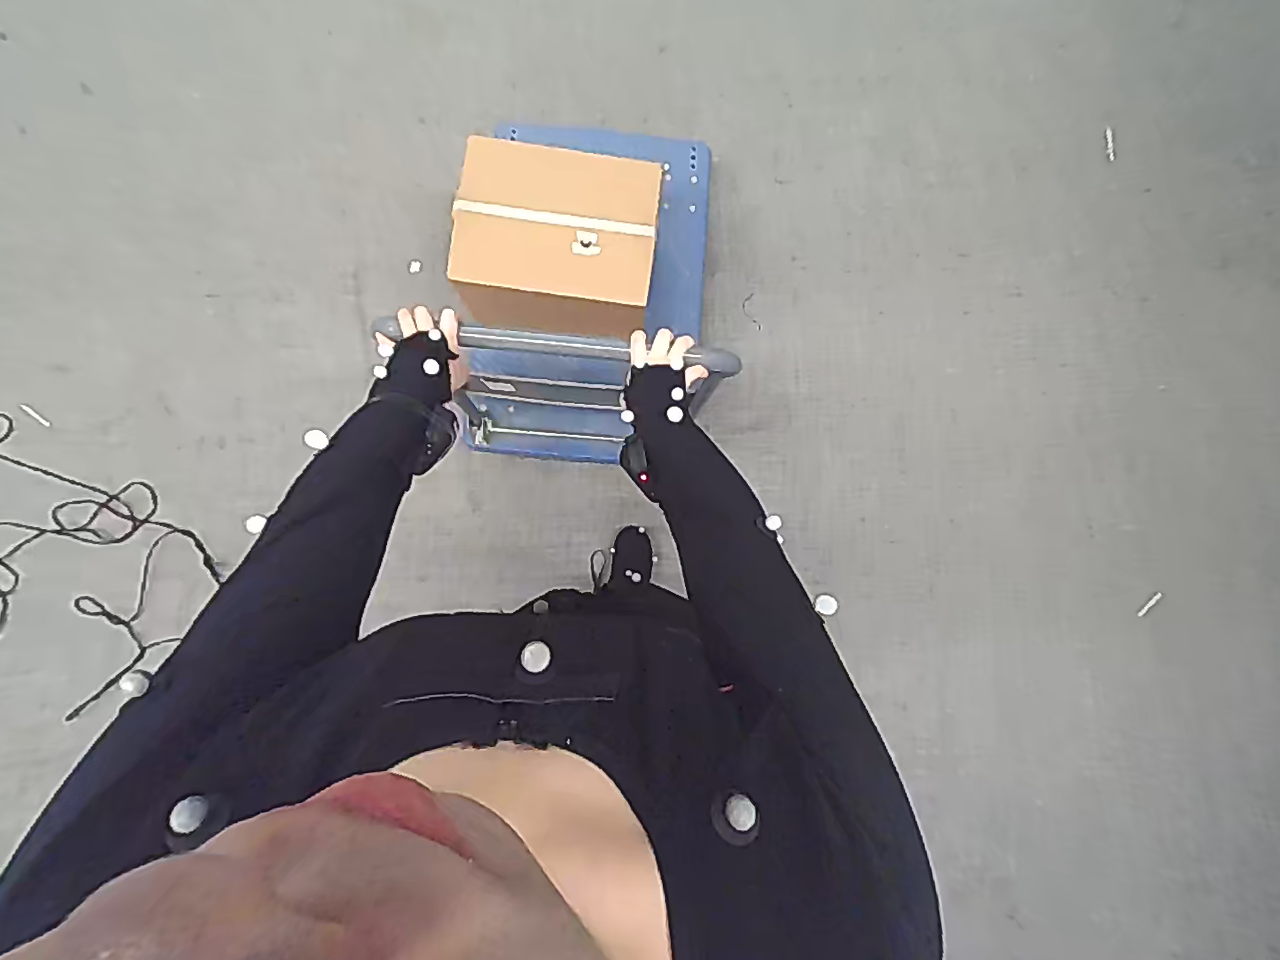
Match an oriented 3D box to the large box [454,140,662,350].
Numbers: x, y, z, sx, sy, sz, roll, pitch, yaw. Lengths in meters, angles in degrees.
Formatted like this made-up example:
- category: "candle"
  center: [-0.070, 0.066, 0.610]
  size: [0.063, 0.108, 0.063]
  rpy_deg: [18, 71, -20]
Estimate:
- category: "large box"
  center: [-0.177, -0.520, 1.262]
  size: [0.408, 0.320, 0.320]
  rpy_deg: [7, 84, -3]
